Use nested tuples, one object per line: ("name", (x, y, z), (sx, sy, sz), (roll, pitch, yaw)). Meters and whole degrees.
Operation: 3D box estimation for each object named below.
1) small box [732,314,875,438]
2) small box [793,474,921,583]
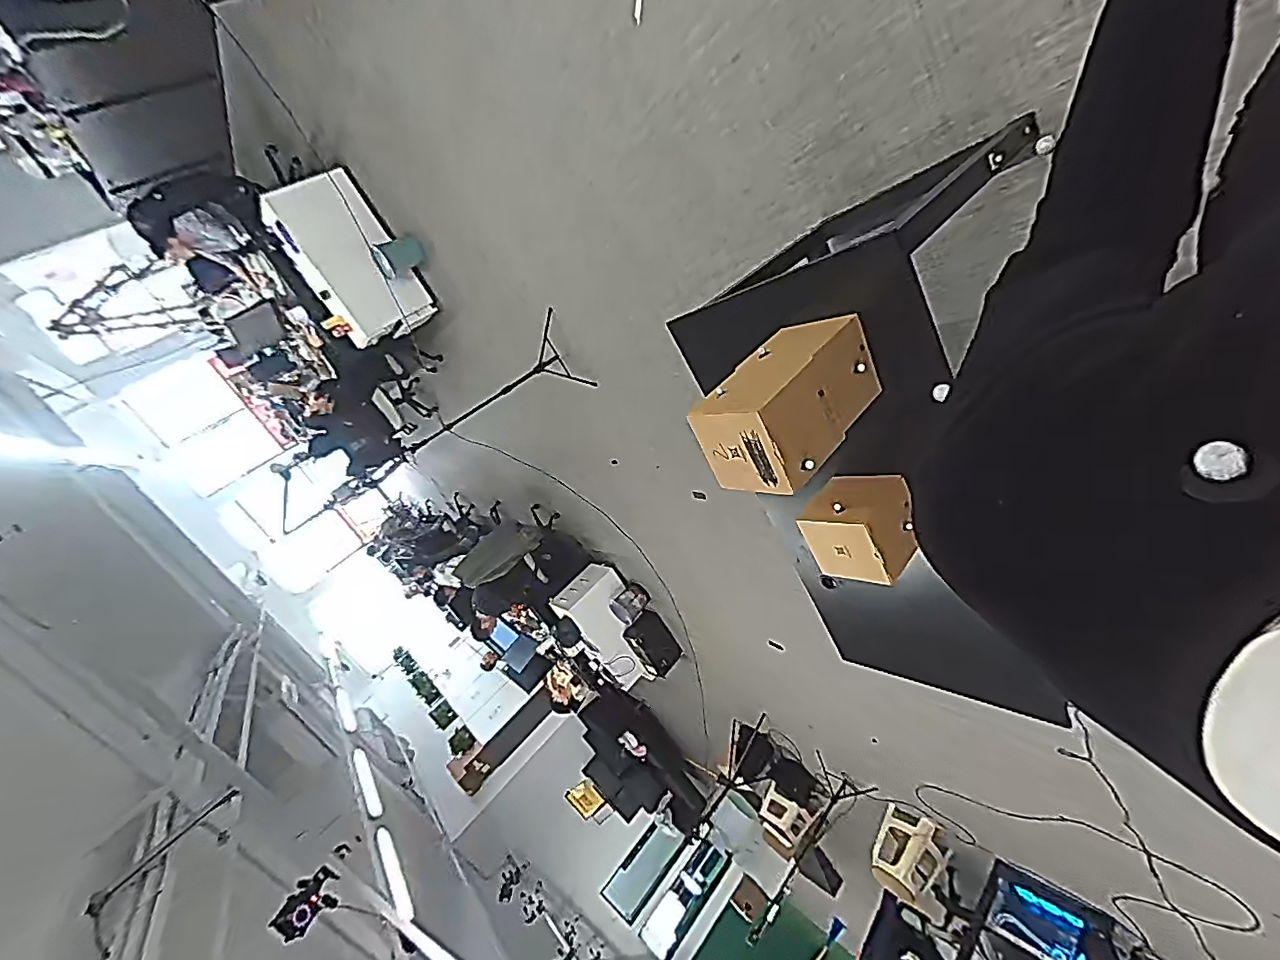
("small box", (0.316, -0.197, 1.038), (0.179, 0.176, 0.168), (7, 133, 53))
("small box", (0.480, 0.099, 1.192), (0.179, 0.176, 0.168), (-1, 125, 56))
